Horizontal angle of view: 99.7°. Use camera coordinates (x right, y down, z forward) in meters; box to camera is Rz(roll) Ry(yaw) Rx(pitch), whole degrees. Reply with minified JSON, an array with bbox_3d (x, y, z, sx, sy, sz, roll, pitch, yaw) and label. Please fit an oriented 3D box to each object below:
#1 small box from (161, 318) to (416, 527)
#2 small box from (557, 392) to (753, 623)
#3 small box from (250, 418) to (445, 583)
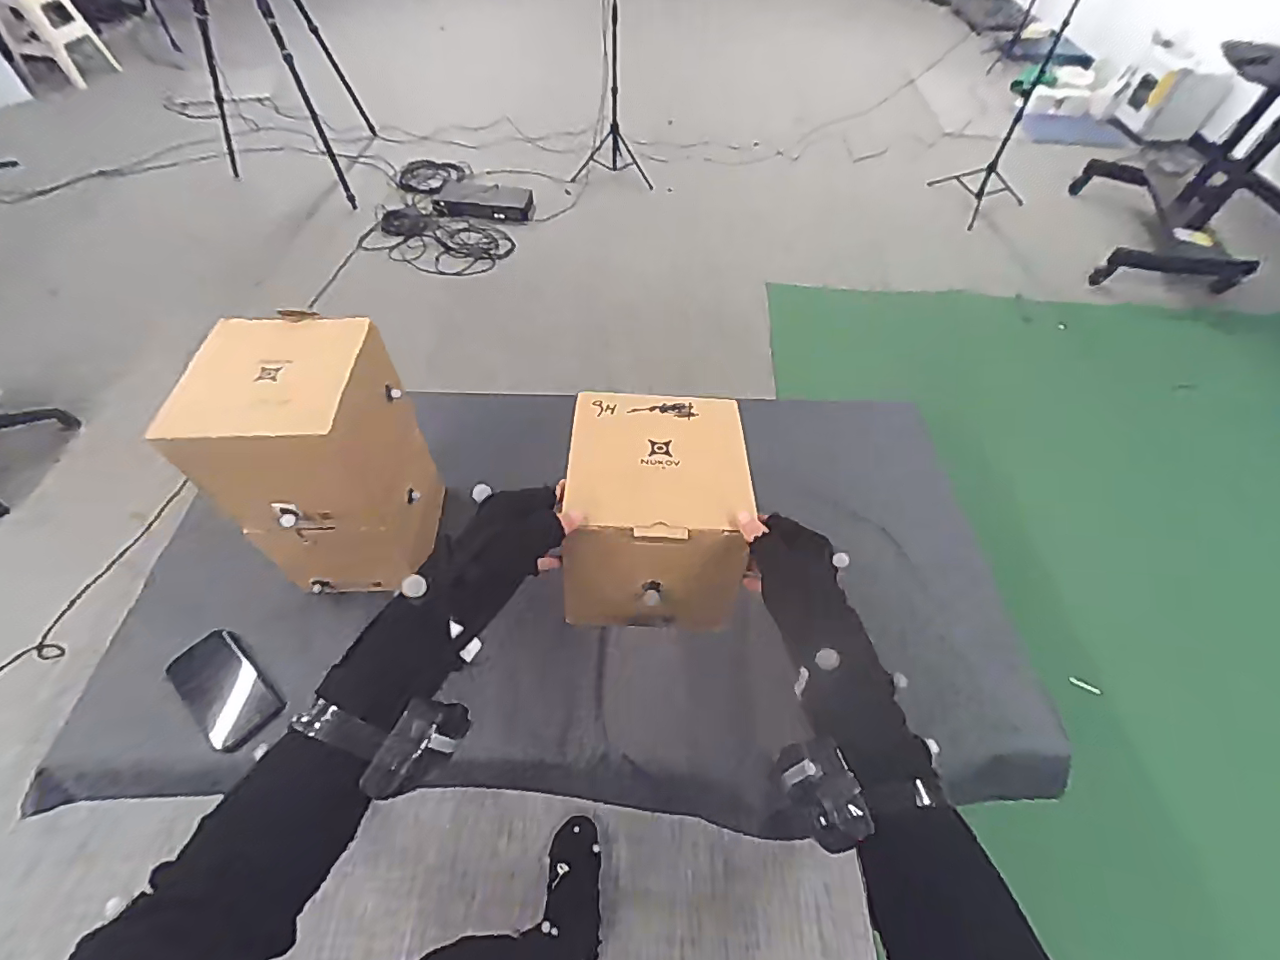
[{"bbox_3d":[-0.371,-0.063,0.617,0.168,0.176,0.179,-2,55,-4],"label":"small box"},{"bbox_3d":[0.011,0.032,0.555,0.168,0.176,0.179,3,48,-2],"label":"small box"},{"bbox_3d":[-0.381,0.033,0.746,0.168,0.176,0.179,-1,53,-4],"label":"small box"}]
